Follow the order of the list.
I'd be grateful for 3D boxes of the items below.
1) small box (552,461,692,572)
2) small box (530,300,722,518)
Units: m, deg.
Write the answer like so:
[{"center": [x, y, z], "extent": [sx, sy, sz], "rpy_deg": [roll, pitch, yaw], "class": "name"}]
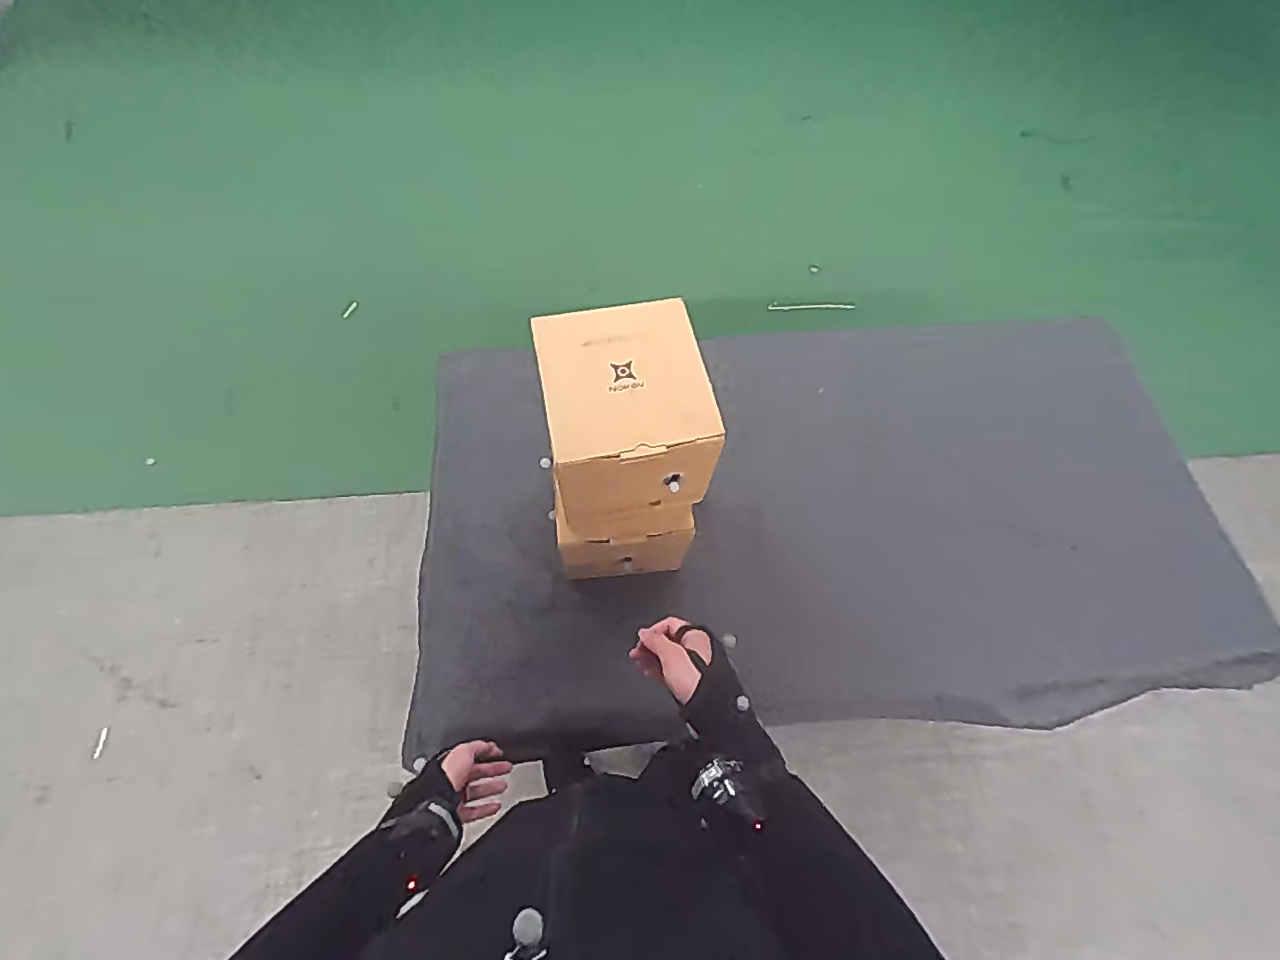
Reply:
[{"center": [-0.030, 0.023, 0.743], "extent": [0.168, 0.176, 0.179], "rpy_deg": [-5, 67, -6], "class": "small box"}, {"center": [-0.021, -0.069, 0.607], "extent": [0.168, 0.176, 0.179], "rpy_deg": [-10, 66, -9], "class": "small box"}]
